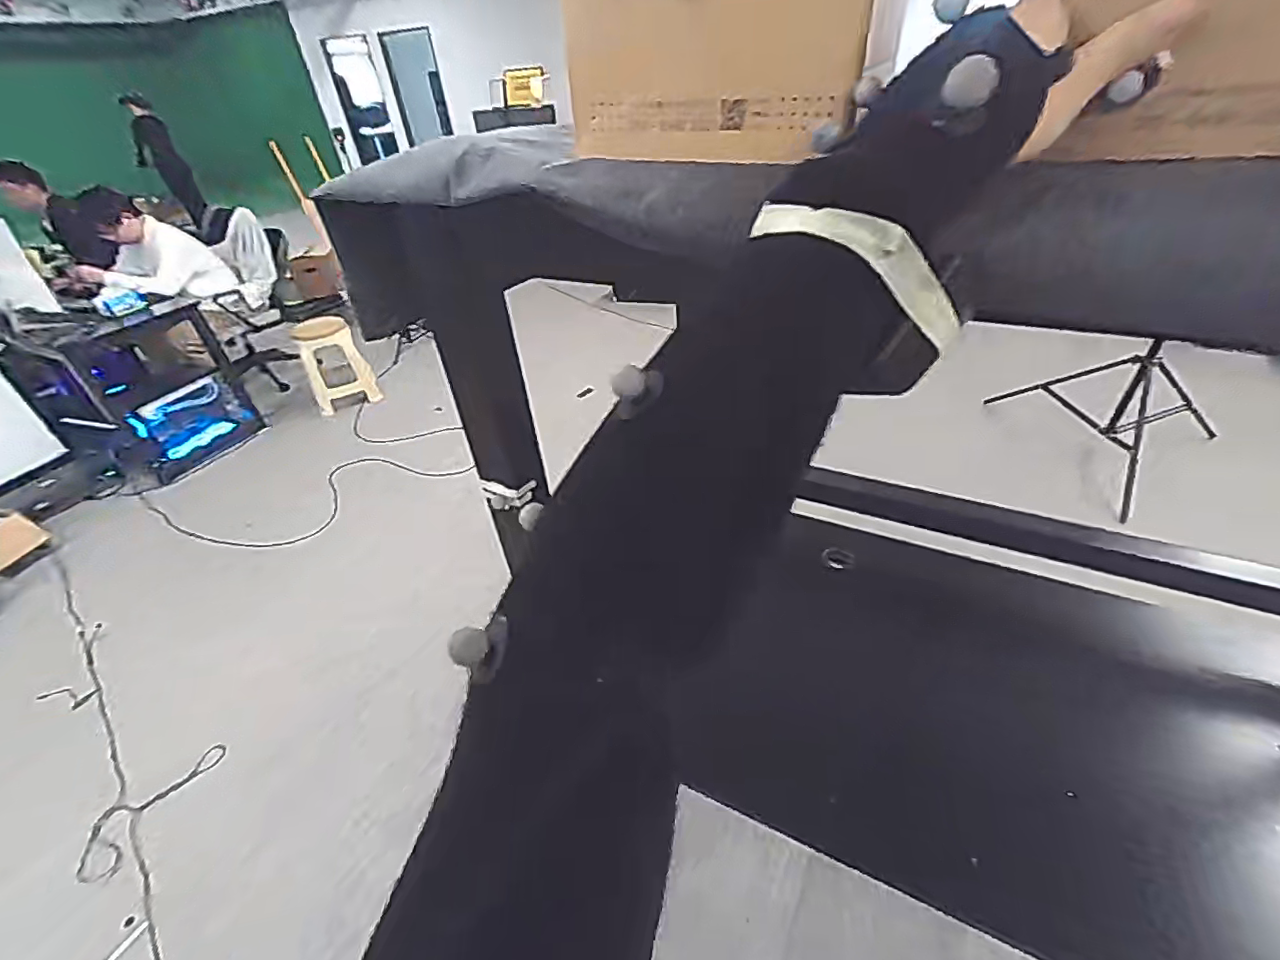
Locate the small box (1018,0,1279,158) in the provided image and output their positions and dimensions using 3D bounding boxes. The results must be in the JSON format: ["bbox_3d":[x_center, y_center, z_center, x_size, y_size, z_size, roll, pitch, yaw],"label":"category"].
[{"bbox_3d":[0.293,-0.248,0.242,0.168,0.176,0.179,15,40,25],"label":"small box"}]
